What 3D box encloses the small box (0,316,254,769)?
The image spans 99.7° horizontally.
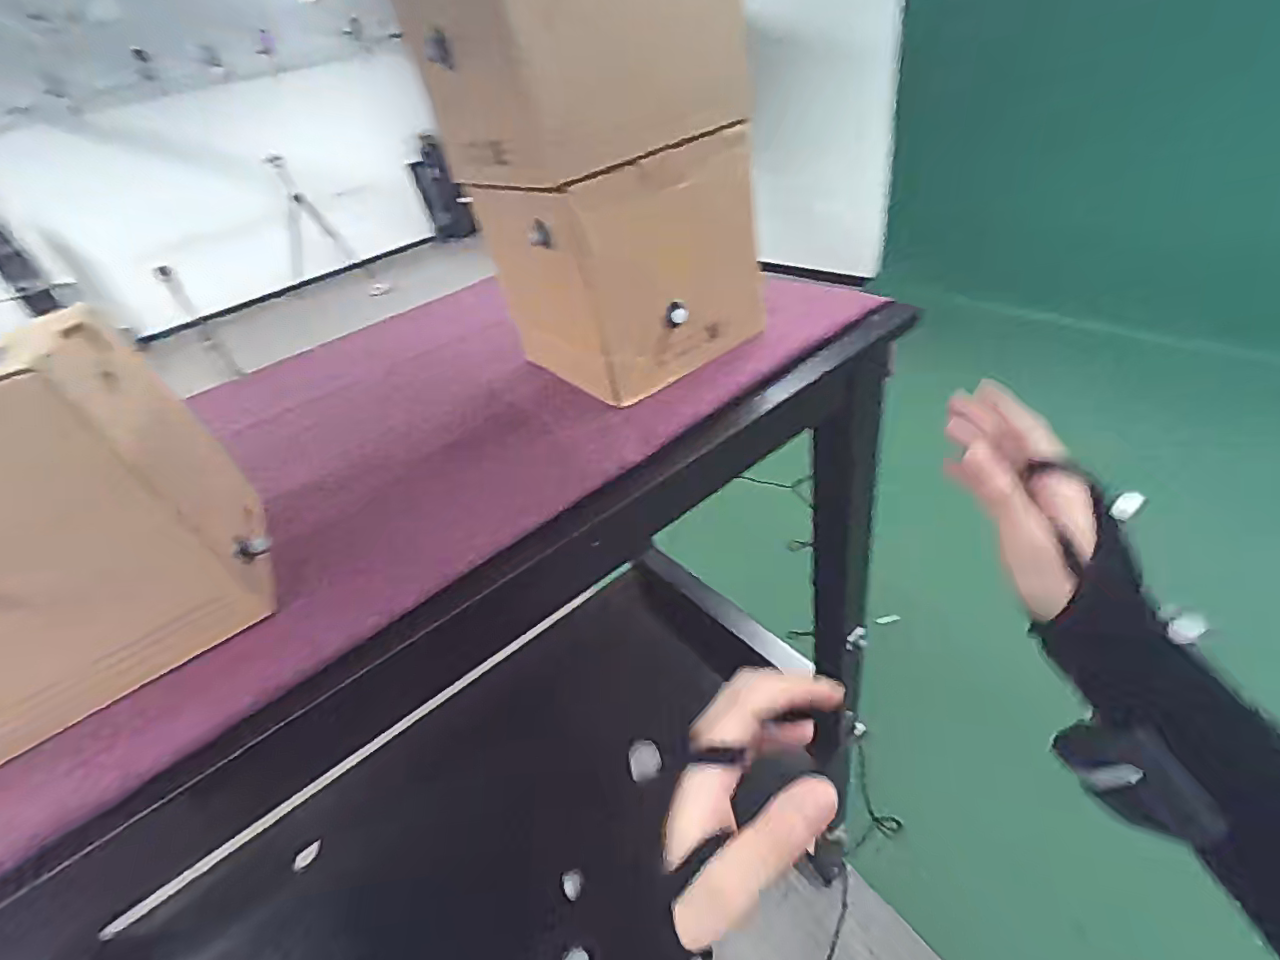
[{"bbox_3d":[-0.352,0.032,0.305,0.179,0.176,0.168,-33,39,-21],"label":"small box"}]

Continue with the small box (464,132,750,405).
[{"bbox_3d":[-0.023,-0.187,0.478,0.168,0.176,0.179,-33,41,-22],"label":"small box"}]
